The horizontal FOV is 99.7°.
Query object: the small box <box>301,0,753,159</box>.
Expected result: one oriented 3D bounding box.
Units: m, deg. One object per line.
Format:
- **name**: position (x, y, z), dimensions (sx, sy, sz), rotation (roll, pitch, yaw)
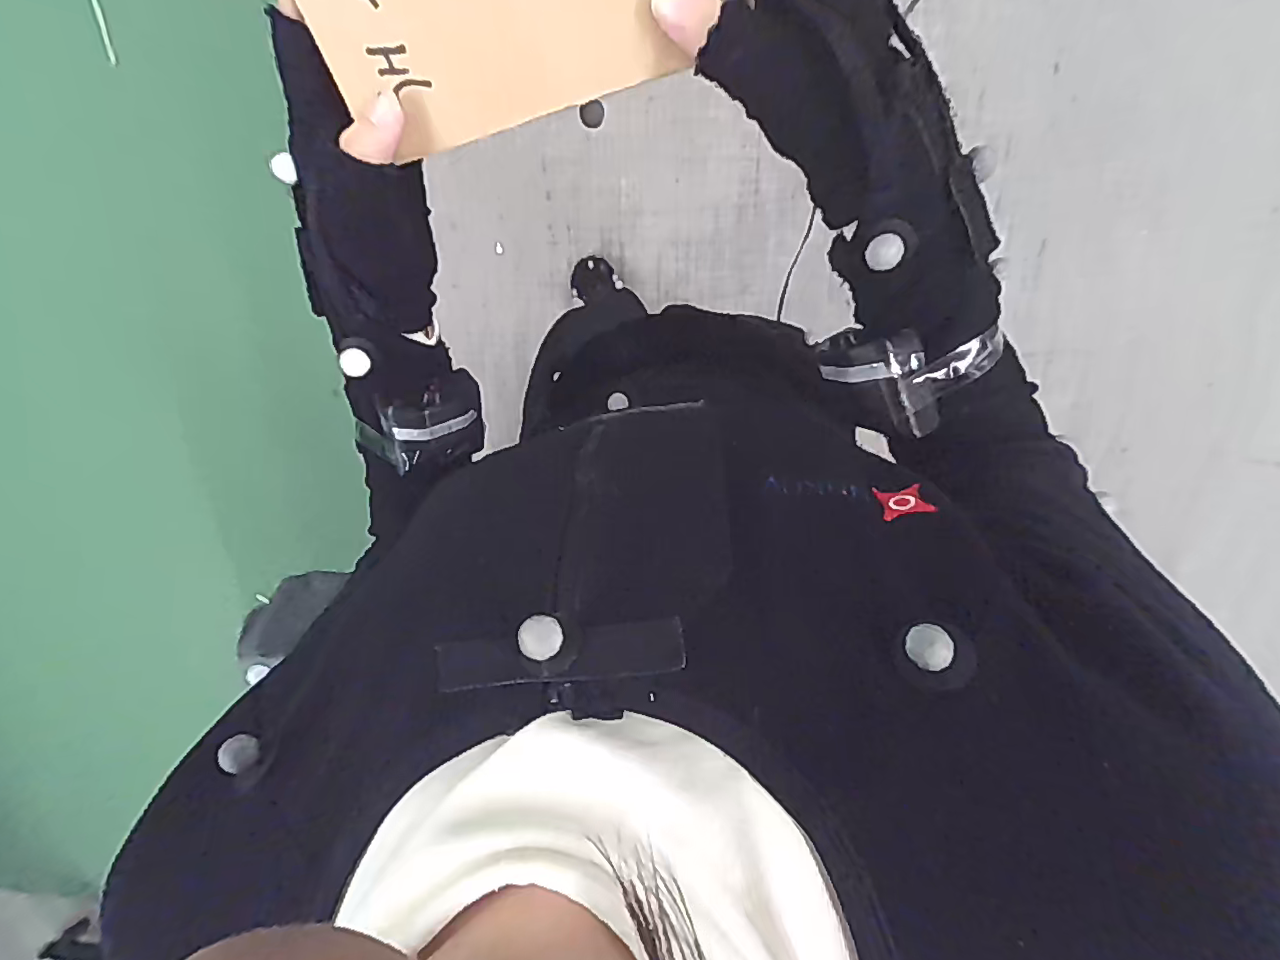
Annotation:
- **small box**: position (-0.056, -0.274, 0.248), dimensions (0.179, 0.176, 0.168), rotation (-11, 127, 9)
